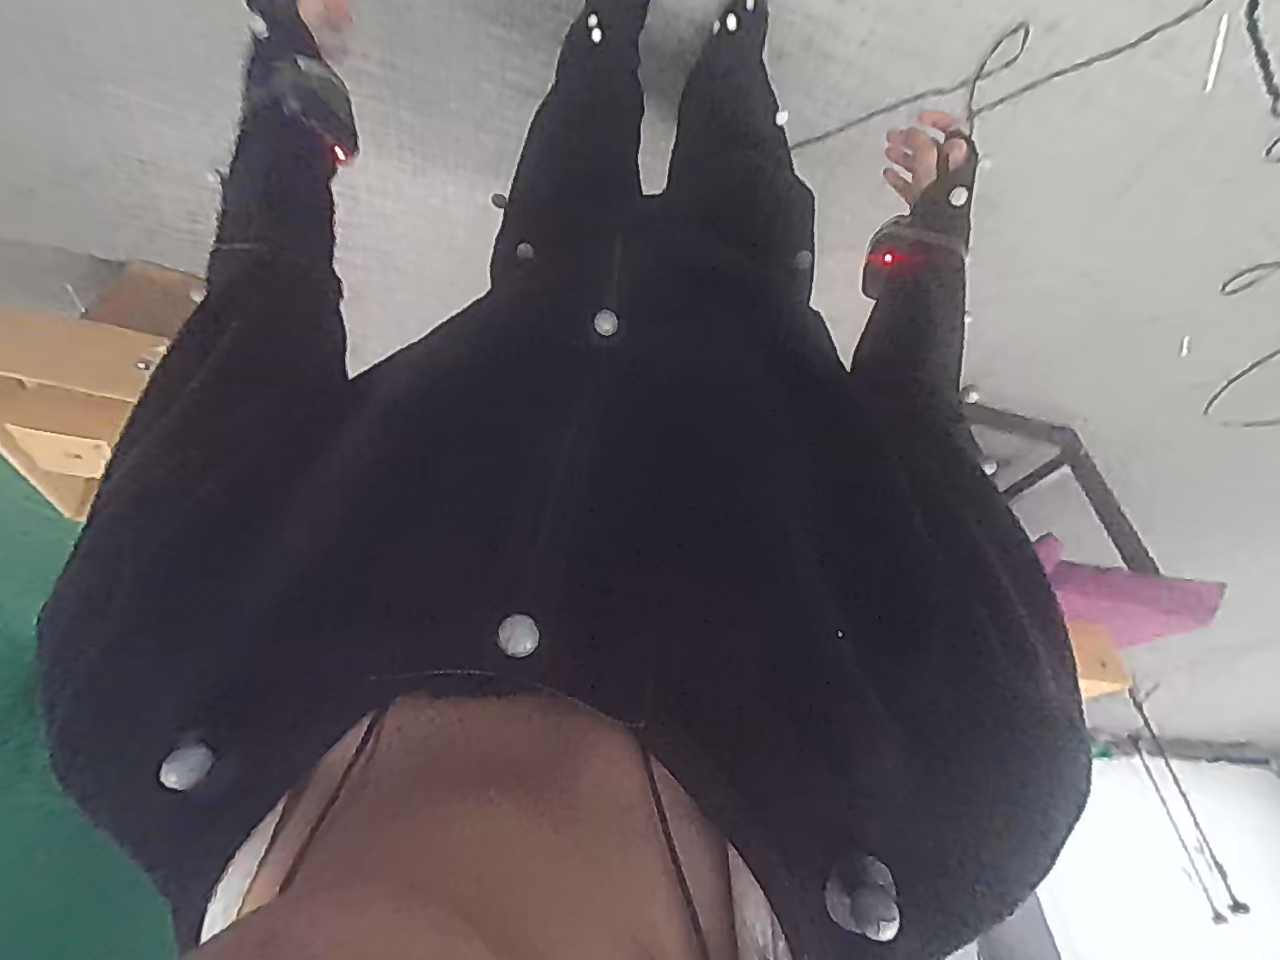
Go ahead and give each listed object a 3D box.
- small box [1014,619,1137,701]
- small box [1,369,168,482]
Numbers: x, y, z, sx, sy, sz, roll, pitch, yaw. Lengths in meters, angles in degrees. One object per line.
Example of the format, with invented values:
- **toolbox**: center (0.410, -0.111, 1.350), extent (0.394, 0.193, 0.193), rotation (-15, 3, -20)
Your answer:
- **small box**: center (1.188, 0.495, 1.493), extent (0.179, 0.176, 0.168), rotation (9, 143, -12)
- **small box**: center (-1.219, -0.123, 1.205), extent (0.179, 0.176, 0.168), rotation (13, 144, -15)
